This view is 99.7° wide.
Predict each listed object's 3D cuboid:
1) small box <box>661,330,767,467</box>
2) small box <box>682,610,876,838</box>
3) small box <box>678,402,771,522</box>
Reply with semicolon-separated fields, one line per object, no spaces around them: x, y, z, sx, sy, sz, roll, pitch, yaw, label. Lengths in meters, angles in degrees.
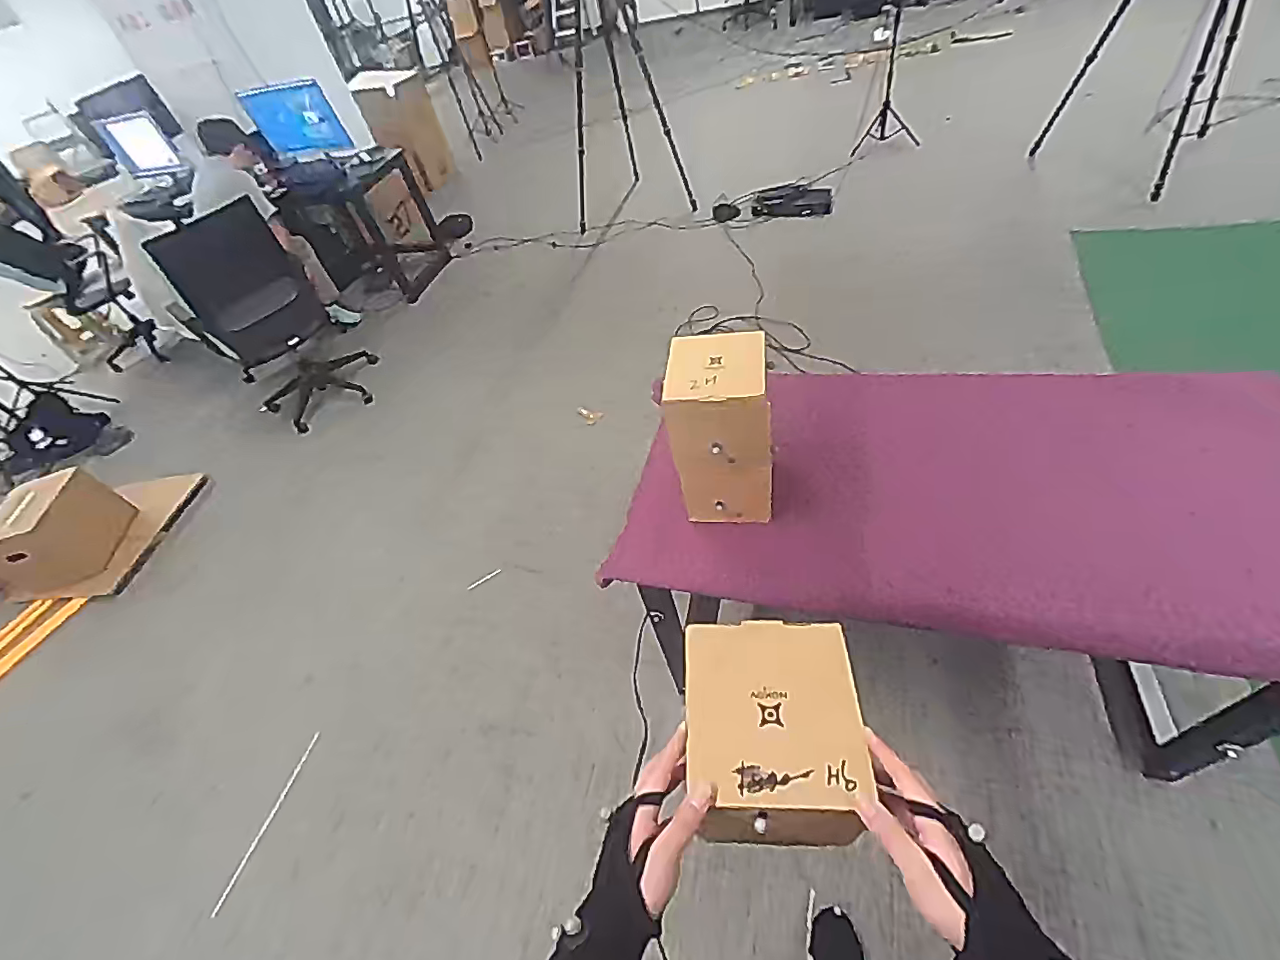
0.139;-0.143;0.963;0.168;0.176;0.179;-1;50;14;small box
0.133;0.258;0.576;0.168;0.176;0.179;-3;47;8;small box
0.177;-0.037;1.083;0.168;0.176;0.179;0;50;14;small box
